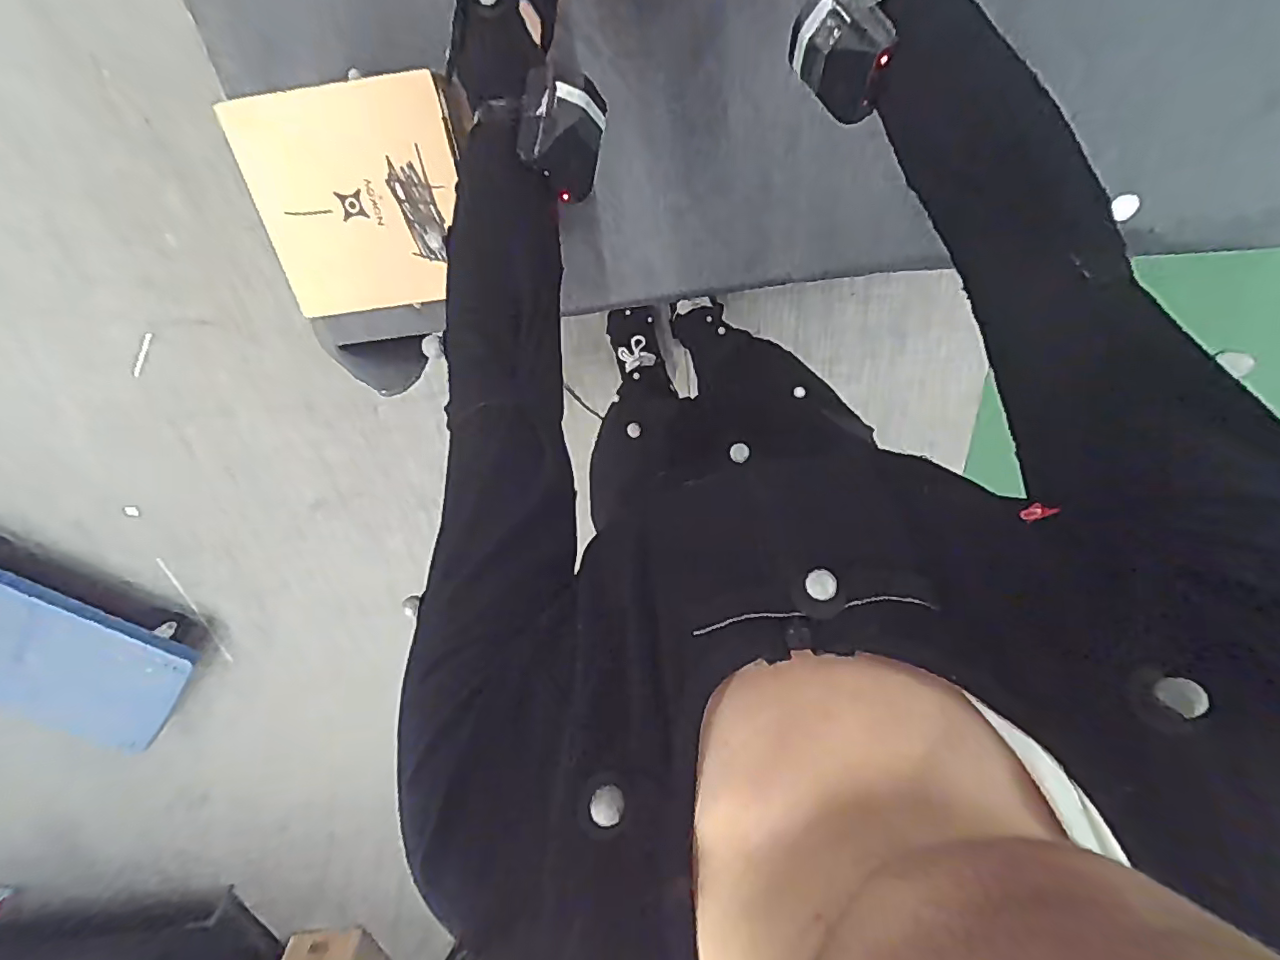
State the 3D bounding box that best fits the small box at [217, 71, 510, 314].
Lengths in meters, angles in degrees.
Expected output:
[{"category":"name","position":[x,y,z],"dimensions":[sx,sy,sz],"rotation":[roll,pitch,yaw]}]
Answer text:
[{"category":"small box","position":[-0.232,-0.270,0.517],"dimensions":[0.179,0.176,0.168],"rotation":[-7,119,2]}]
